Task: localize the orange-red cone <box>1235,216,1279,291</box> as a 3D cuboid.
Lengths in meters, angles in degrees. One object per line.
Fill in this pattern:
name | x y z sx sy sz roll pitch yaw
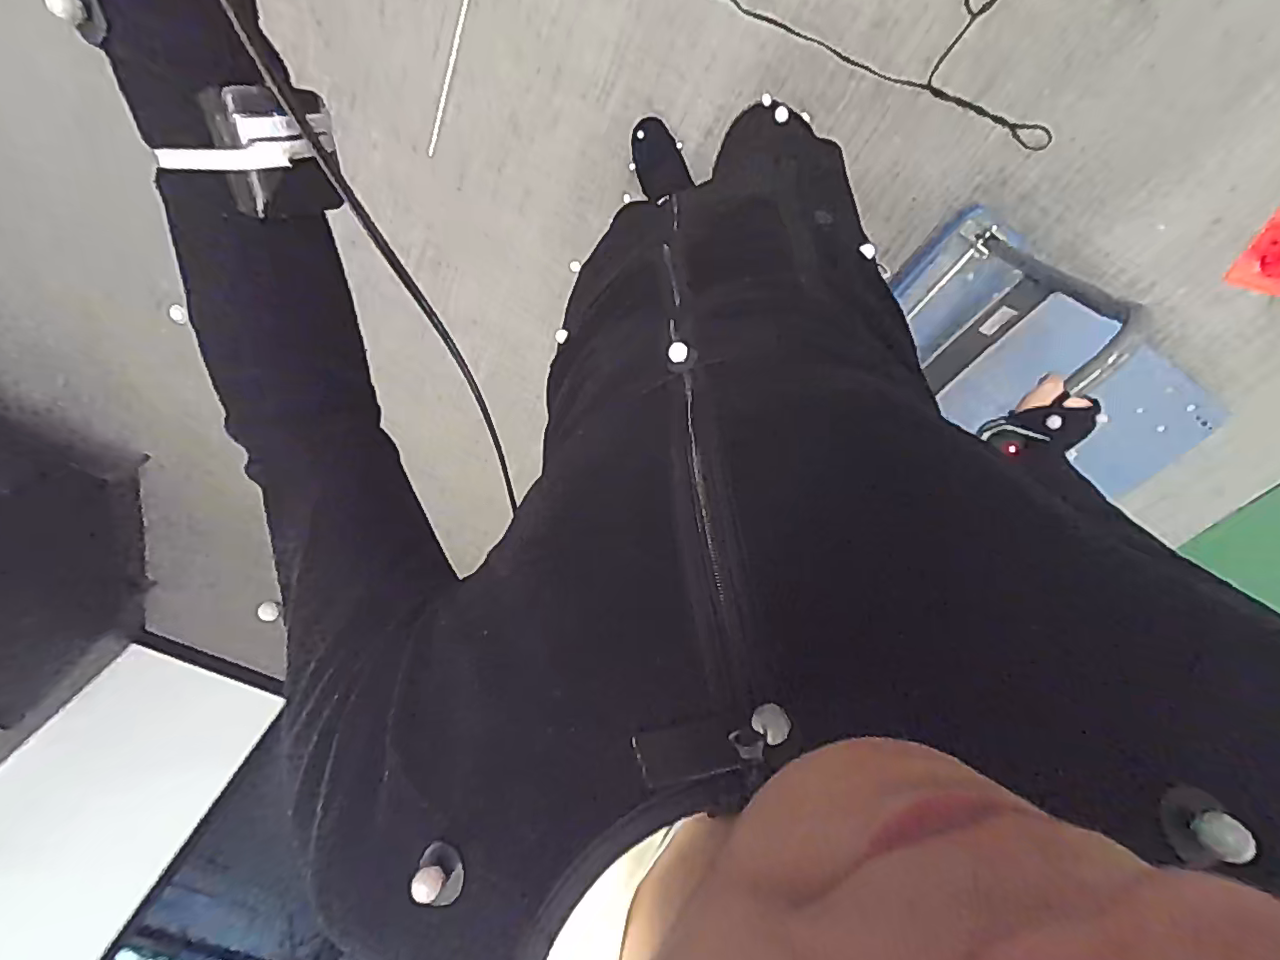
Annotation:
orange-red cone | 1.492 -0.441 1.088 0.198 0.360 0.199 14 124 -2
